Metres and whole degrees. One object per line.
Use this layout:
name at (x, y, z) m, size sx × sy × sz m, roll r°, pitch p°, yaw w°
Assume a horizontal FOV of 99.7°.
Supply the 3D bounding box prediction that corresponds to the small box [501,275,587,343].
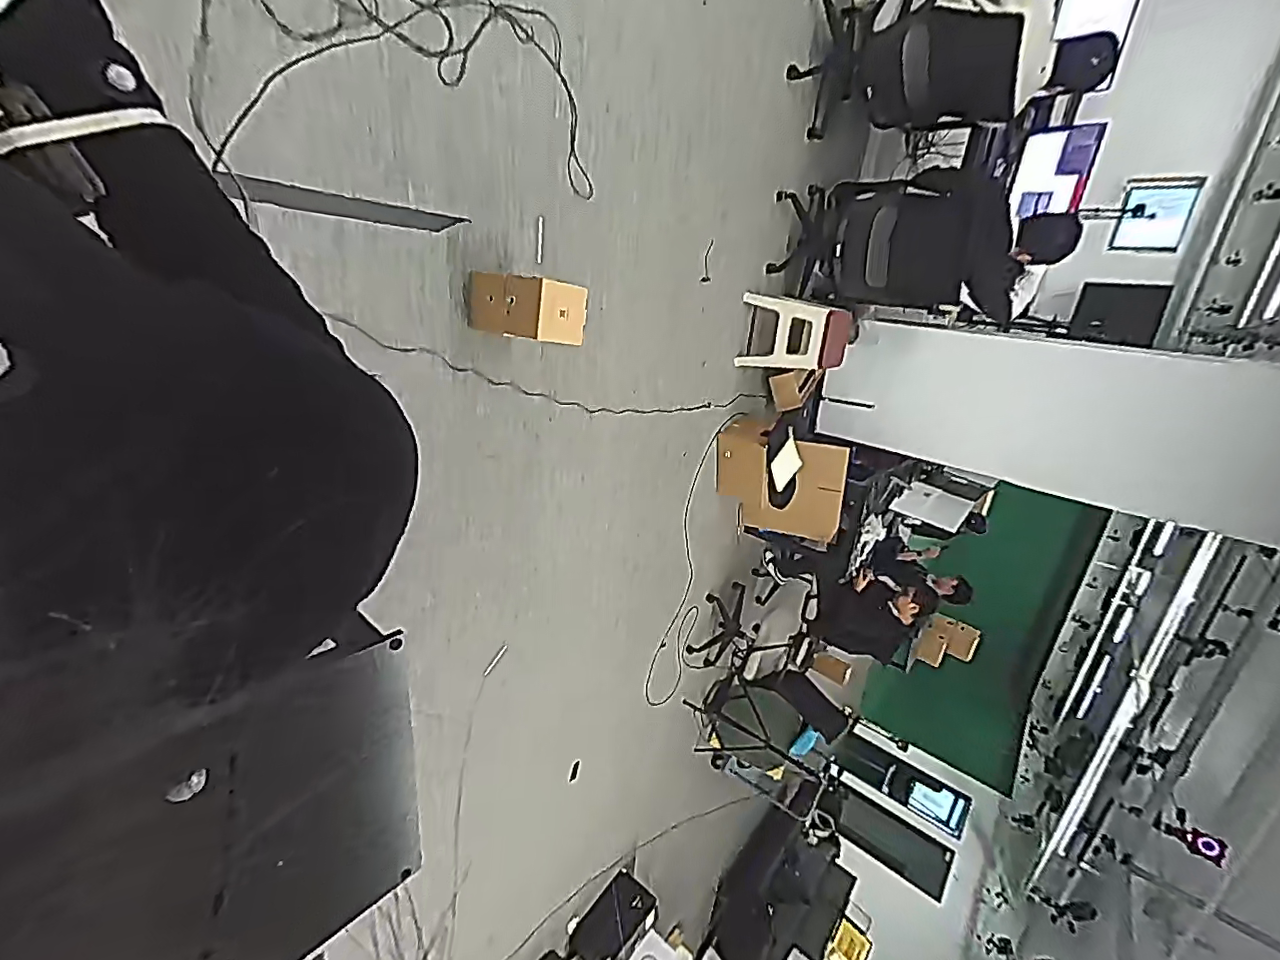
small box at (-0.280, -0.499, 1.577) m, size 0.179 × 0.176 × 0.168 m, roll -11°, pitch 114°, yaw -49°

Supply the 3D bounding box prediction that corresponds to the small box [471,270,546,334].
small box at (-0.407, -0.549, 1.669) m, size 0.168 × 0.176 × 0.179 m, roll -17°, pitch 119°, yaw -48°
